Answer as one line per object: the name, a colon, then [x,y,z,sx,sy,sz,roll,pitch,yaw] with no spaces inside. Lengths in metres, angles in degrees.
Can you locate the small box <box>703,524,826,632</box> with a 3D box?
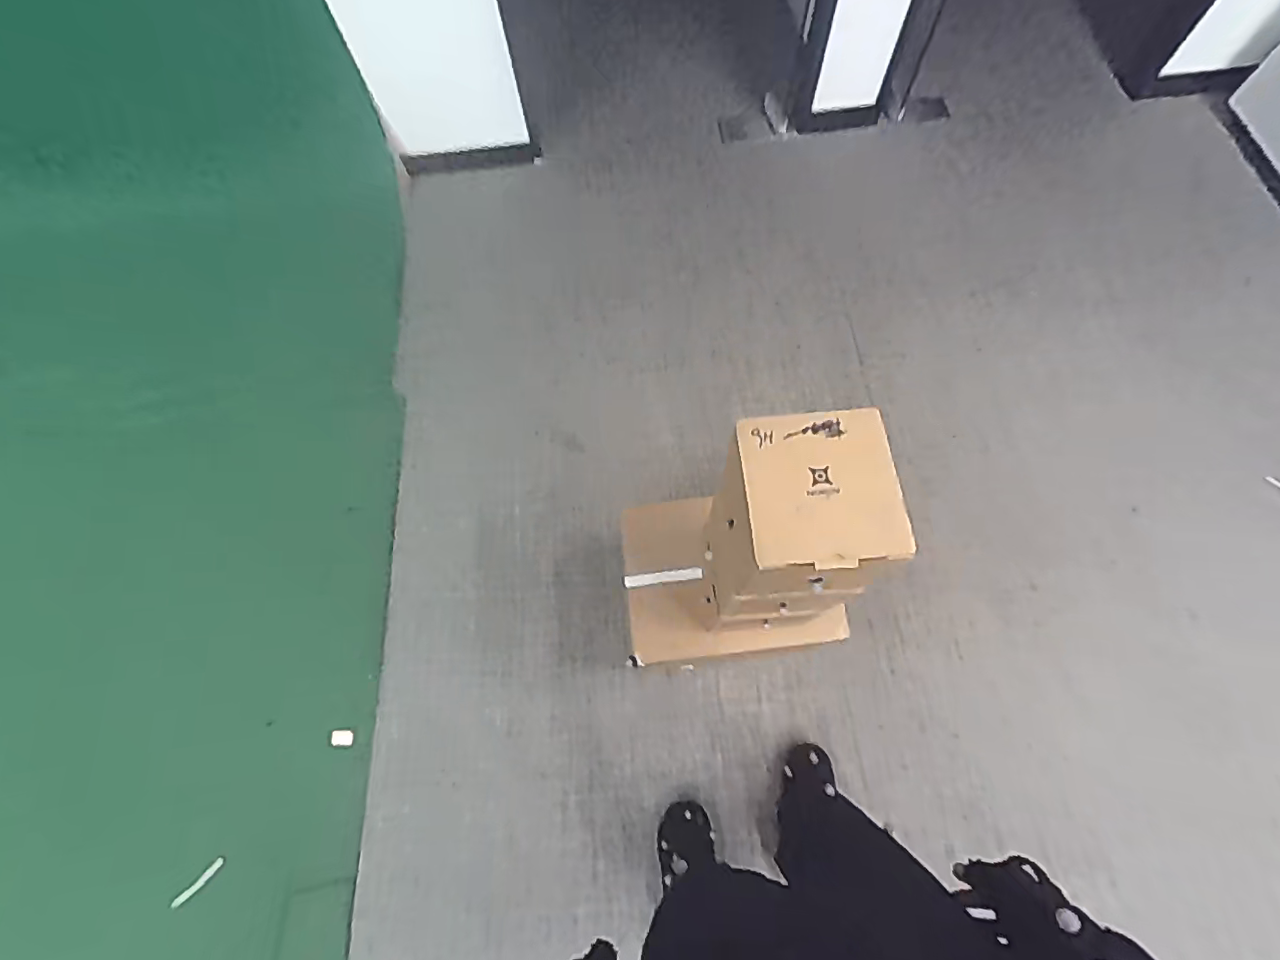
small box: [0.207,0.172,0.960,0.179,0.176,0.168,-5,69,0]

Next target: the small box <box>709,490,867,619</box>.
small box: [0.207,0.109,0.809,0.179,0.176,0.168,-7,69,0]

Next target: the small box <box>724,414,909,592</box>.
small box: [0.198,0.039,0.661,0.168,0.176,0.179,-4,69,2]
